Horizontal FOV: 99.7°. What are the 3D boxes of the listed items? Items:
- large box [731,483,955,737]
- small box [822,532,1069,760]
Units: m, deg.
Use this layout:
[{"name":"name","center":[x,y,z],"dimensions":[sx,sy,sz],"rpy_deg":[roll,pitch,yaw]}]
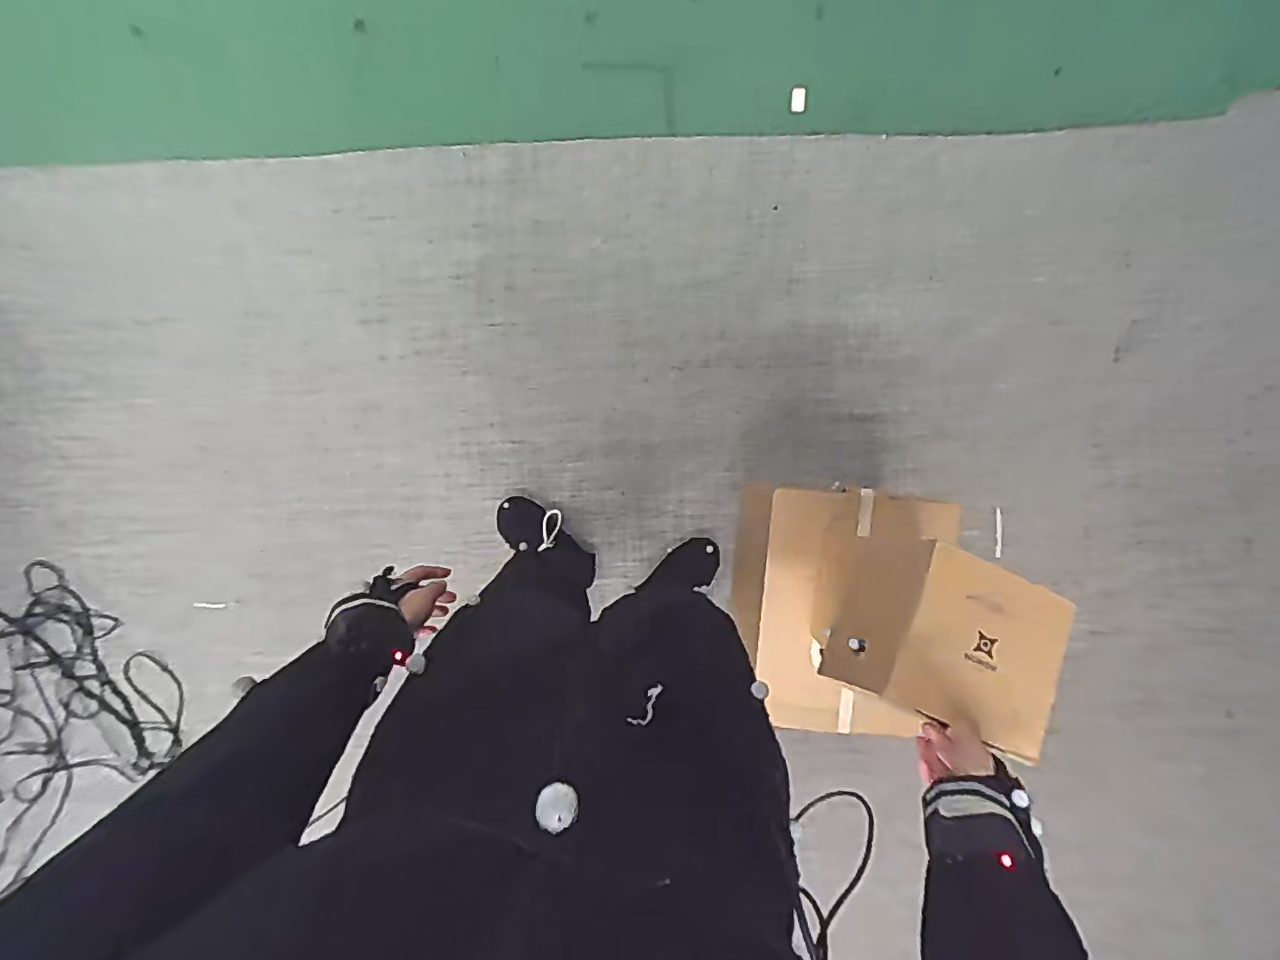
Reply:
[{"name":"large box","center":[0.362,0.219,1.053],"dimensions":[0.320,0.320,0.408],"rpy_deg":[4,93,2]},{"name":"small box","center":[0.335,0.183,0.625],"dimensions":[0.168,0.176,0.179],"rpy_deg":[25,74,0]}]
